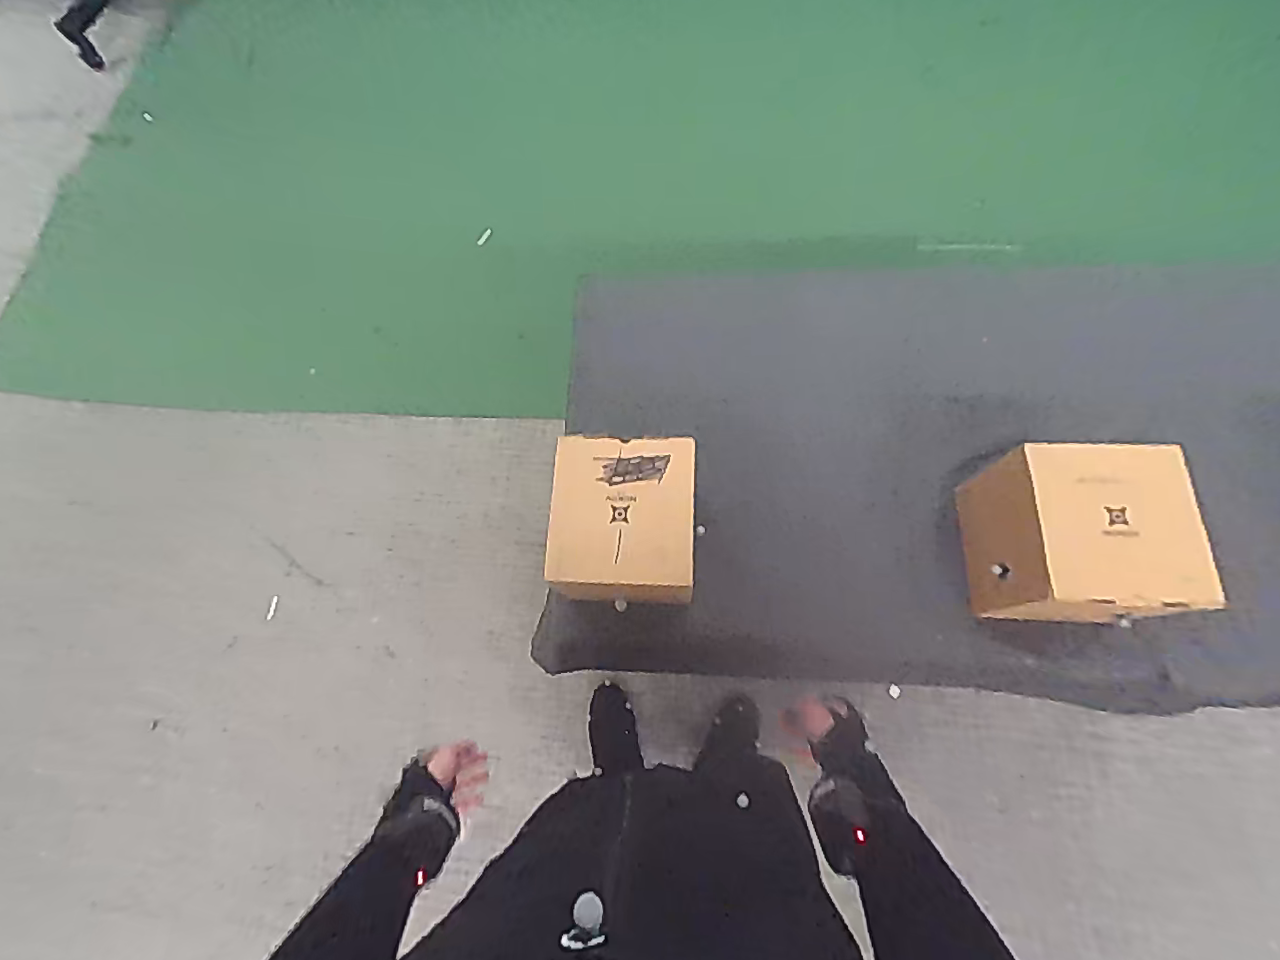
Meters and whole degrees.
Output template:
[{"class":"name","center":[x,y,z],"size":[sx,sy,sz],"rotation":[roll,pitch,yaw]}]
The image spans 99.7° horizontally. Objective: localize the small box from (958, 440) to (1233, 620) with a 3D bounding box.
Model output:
[{"class":"small box","center":[0.506,0.067,0.635],"size":[0.168,0.176,0.179],"rotation":[2,69,4]}]

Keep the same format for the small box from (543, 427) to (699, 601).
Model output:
[{"class":"small box","center":[-0.014,0.049,0.678],"size":[0.168,0.176,0.179],"rotation":[1,71,5]}]
